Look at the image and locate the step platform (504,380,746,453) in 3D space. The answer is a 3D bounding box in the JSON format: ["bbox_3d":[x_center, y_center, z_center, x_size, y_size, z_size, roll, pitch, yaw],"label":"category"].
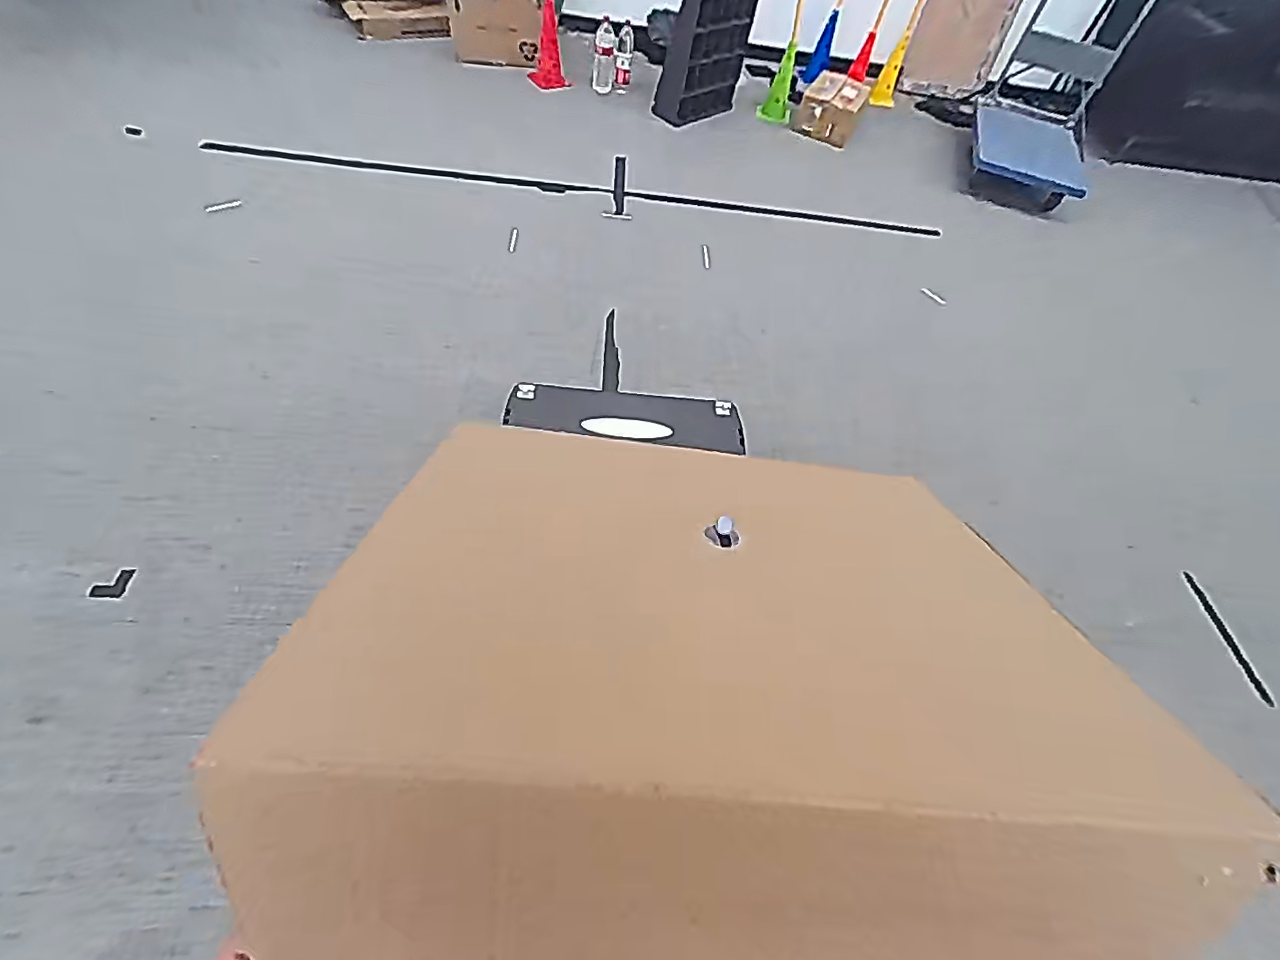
[{"bbox_3d":[-0.041,-0.086,1.549,0.684,0.204,0.286,8,56,-4],"label":"step platform"}]
